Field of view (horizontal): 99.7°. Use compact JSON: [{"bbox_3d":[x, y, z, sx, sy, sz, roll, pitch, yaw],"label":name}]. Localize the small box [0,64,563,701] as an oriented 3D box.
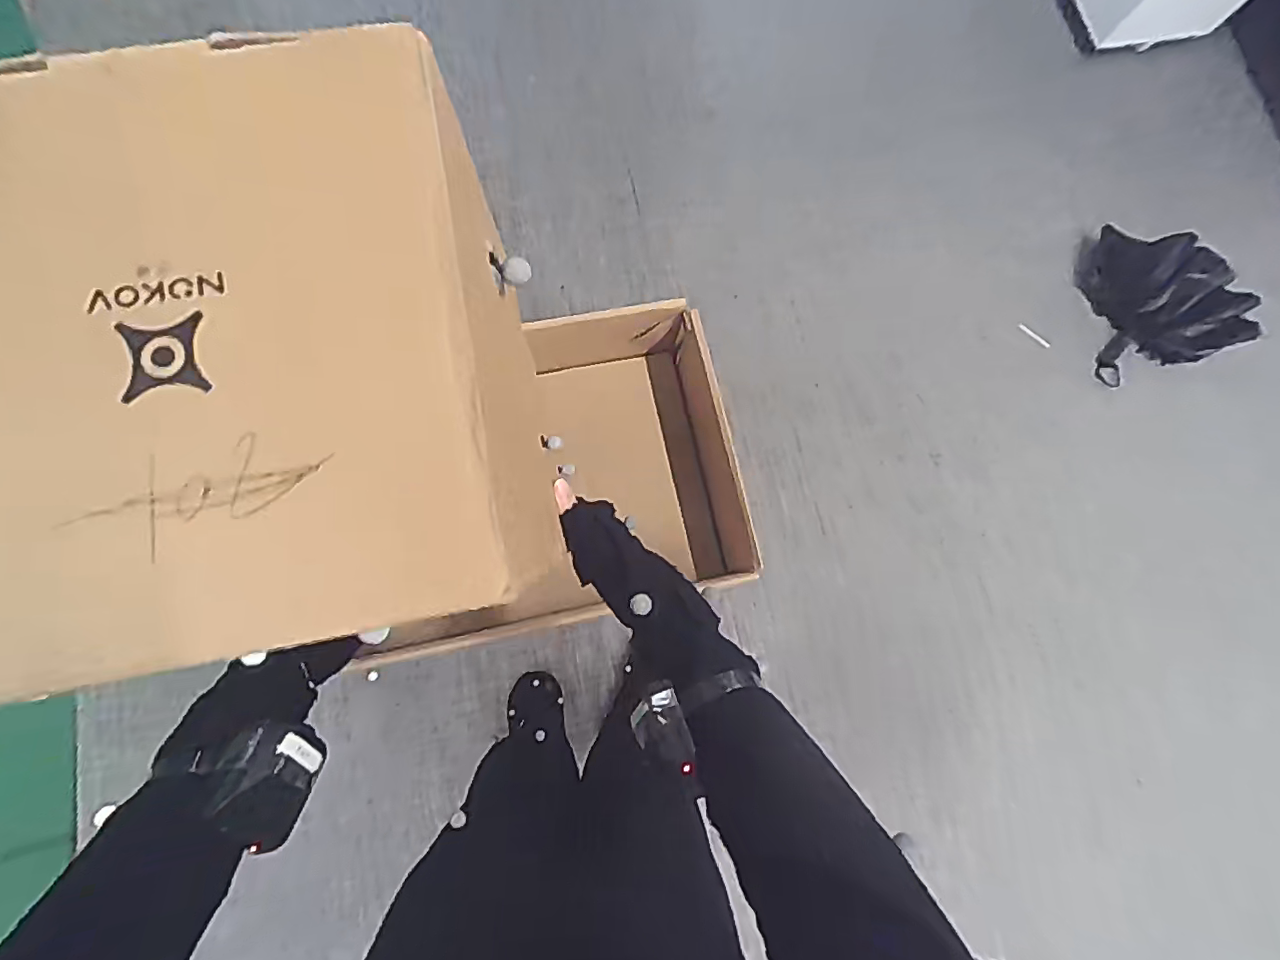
[{"bbox_3d":[-0.135,-0.028,0.241,0.168,0.176,0.179,-12,86,-4],"label":"small box"}]
